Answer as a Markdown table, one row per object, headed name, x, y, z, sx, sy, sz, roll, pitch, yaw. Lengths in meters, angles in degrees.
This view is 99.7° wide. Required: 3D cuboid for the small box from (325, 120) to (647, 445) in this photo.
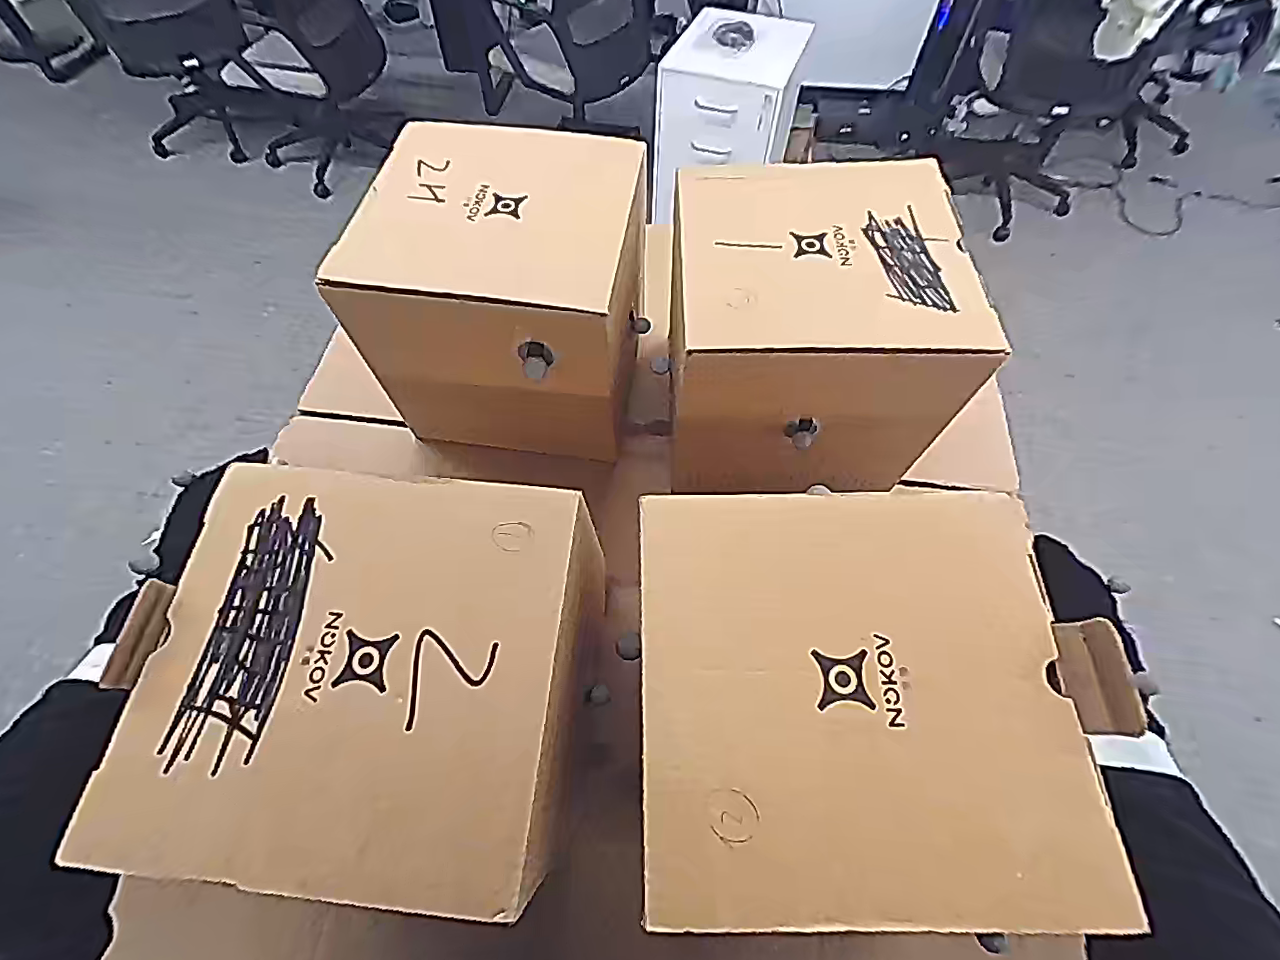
| name | x | y | z | sx | sy | sz | roll | pitch | yaw |
| --- | --- | --- | --- | --- | --- | --- | --- | --- | --- |
| small box | -0.093 | -0.144 | 0.428 | 0.179 | 0.176 | 0.168 | 8 | 62 | 5 |
